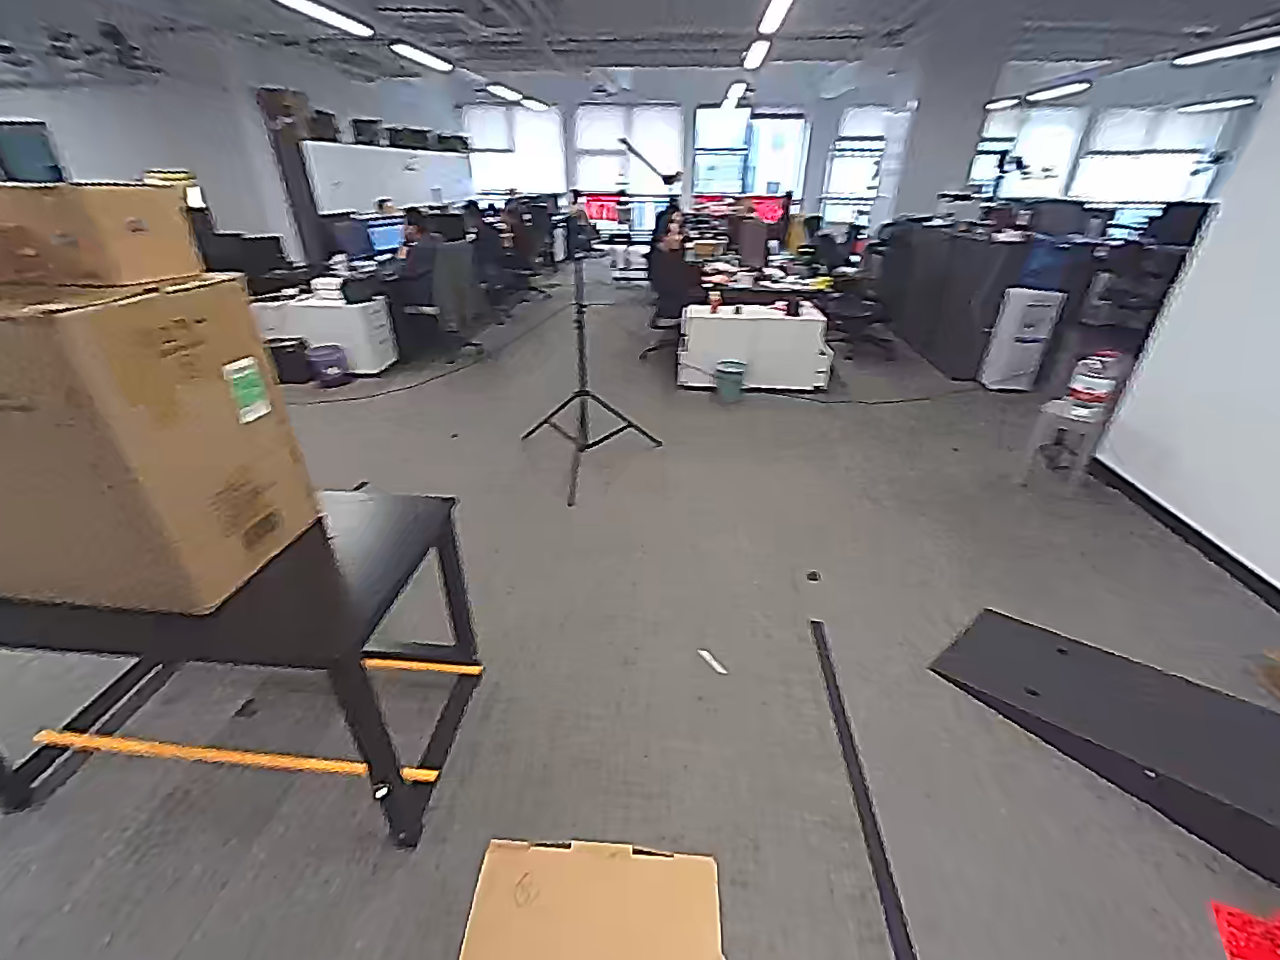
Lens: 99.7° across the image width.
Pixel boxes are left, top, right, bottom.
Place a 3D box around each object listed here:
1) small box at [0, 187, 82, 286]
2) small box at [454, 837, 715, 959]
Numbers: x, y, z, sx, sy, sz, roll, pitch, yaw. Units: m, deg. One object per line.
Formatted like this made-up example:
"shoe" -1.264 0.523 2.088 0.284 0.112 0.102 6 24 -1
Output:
"small box" -1.283 -0.480 1.061 0.179 0.176 0.168 4 29 4
"small box" -0.041 0.376 0.366 0.168 0.176 0.179 4 39 0
